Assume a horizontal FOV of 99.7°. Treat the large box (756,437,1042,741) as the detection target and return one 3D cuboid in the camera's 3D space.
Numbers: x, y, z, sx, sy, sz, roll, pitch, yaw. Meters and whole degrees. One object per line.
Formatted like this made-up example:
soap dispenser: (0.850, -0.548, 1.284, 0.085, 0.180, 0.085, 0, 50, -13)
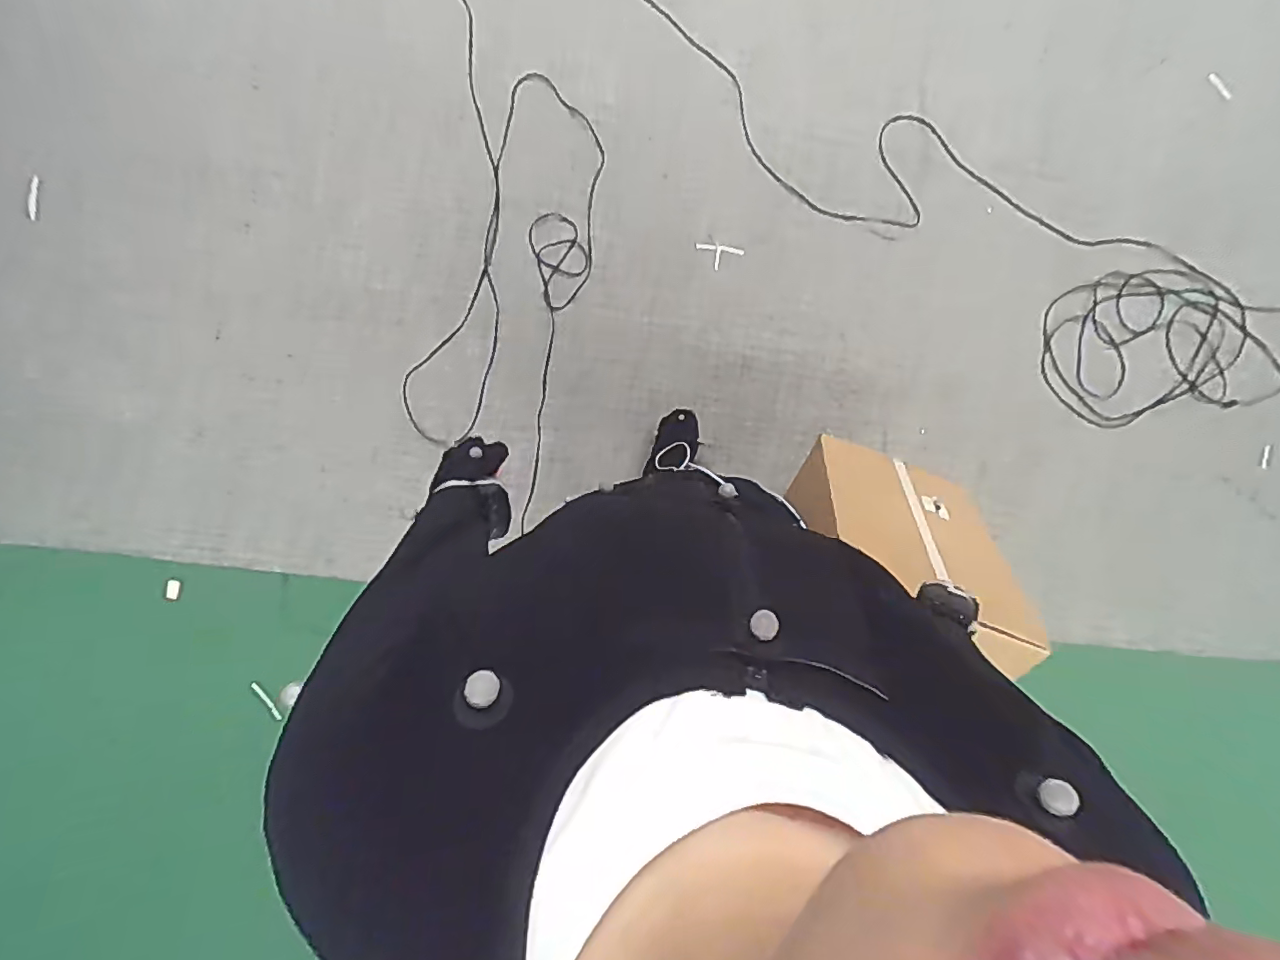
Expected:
large box: (0.417, 0.187, 1.002, 0.320, 0.408, 0.320, 21, 125, -2)
